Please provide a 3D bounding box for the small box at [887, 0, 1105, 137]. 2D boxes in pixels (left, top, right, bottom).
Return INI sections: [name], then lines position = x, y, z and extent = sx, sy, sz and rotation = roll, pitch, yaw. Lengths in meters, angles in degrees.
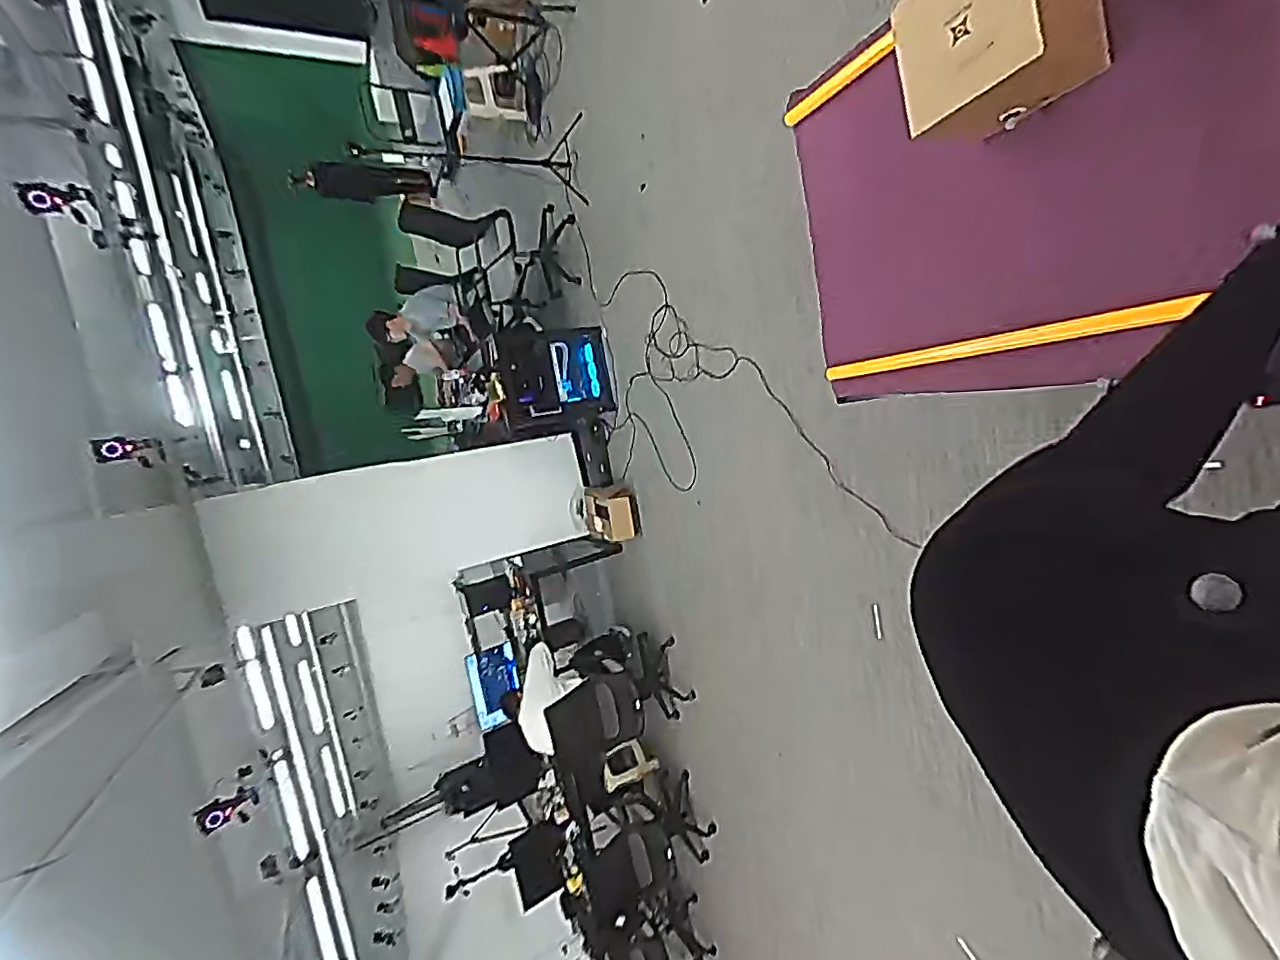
[small box]
position = 0.455, -0.576, 0.697
extent = 0.168, 0.176, 0.179
rotation = -3, 100, 63
